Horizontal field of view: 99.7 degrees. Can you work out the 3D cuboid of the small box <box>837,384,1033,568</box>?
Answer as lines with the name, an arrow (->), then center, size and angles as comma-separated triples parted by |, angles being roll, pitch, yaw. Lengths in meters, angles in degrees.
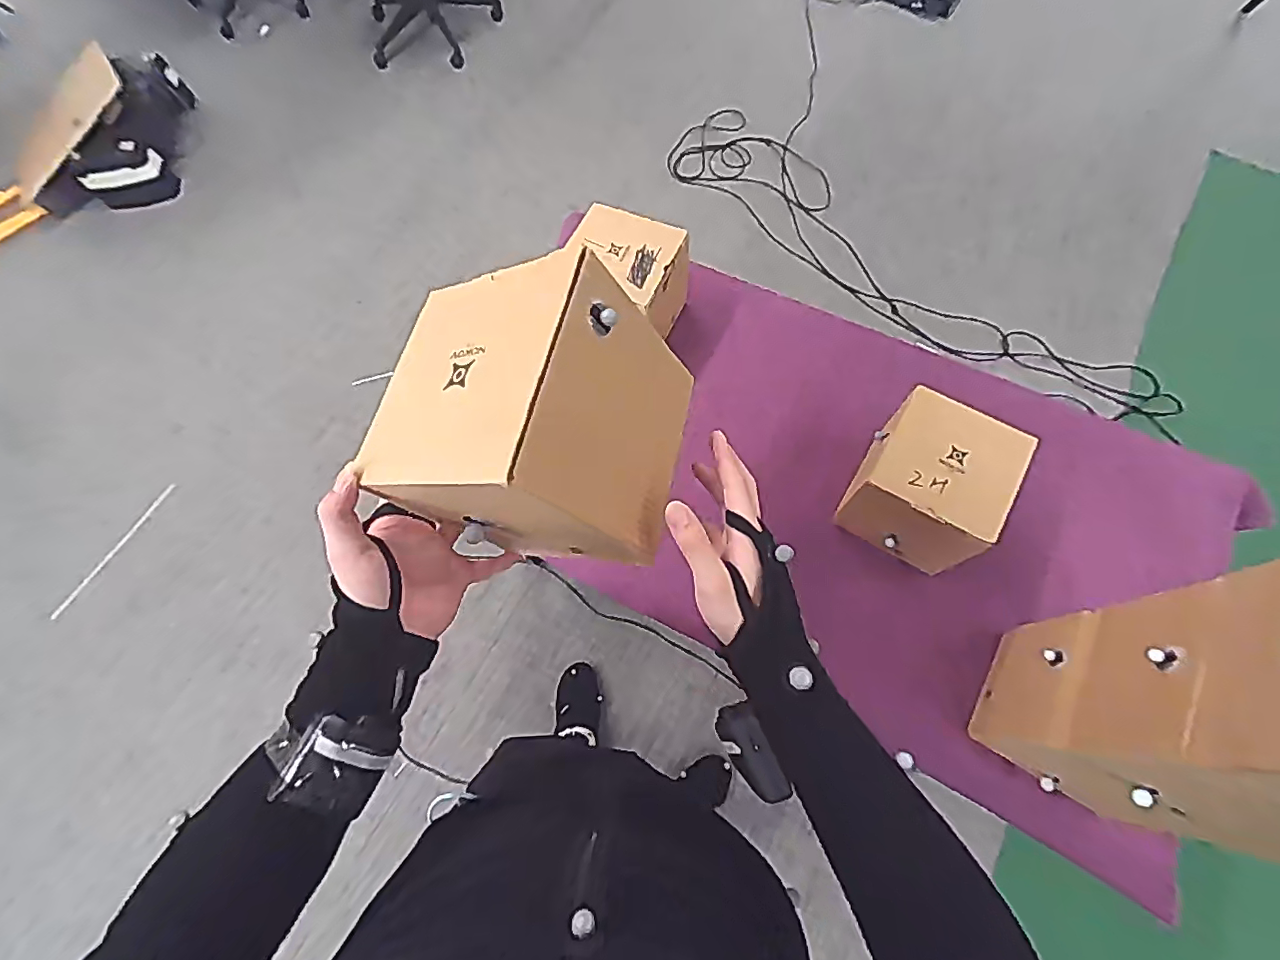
small box -> 0.411, 0.001, 0.784 | 0.168, 0.176, 0.179 | 31, 73, 14

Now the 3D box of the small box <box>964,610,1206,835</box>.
small box -> 0.548, 0.285, 0.662 | 0.179, 0.176, 0.168 | 30, 71, 14

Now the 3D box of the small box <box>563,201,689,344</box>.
small box -> -0.029, -0.336, 0.937 | 0.179, 0.176, 0.168 | 23, 71, 12

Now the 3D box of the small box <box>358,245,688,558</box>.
small box -> -0.078, -0.045, 0.434 | 0.168, 0.176, 0.179 | -1, 65, 34

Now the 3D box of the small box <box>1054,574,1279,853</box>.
small box -> 0.544, 0.220, 0.513 | 0.168, 0.176, 0.179 | 30, 72, 15
